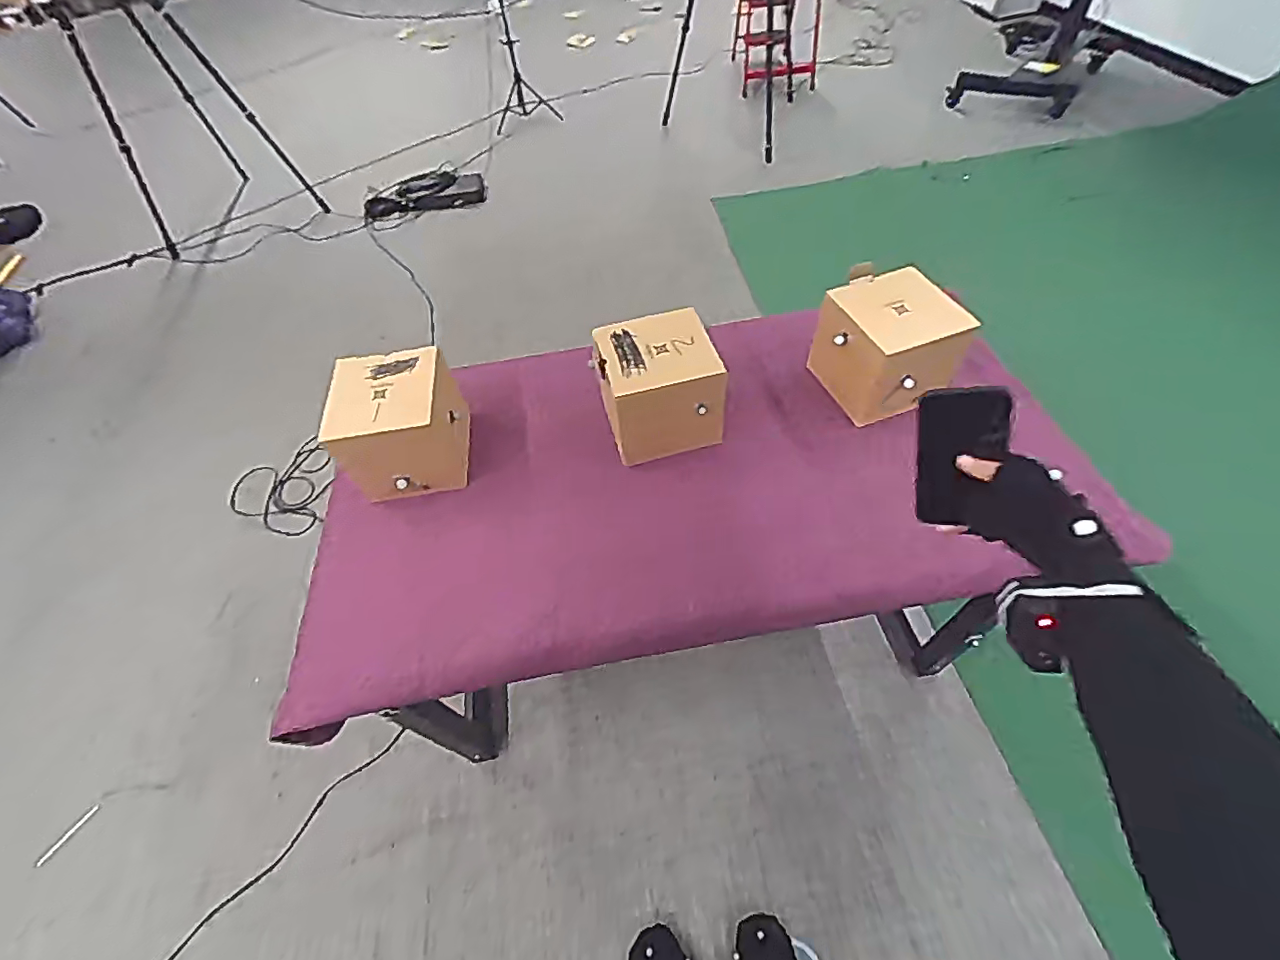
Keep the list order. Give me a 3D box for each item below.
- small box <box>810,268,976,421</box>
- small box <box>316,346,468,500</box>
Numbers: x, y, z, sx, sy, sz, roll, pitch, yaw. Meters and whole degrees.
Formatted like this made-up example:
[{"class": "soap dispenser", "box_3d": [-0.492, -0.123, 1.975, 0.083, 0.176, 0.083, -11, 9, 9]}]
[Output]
[{"class": "small box", "box_3d": [0.413, -0.221, 0.918, 0.168, 0.176, 0.179, -19, 54, -8]}, {"class": "small box", "box_3d": [-0.390, -0.090, 0.888, 0.168, 0.176, 0.179, -9, 56, -2]}]
